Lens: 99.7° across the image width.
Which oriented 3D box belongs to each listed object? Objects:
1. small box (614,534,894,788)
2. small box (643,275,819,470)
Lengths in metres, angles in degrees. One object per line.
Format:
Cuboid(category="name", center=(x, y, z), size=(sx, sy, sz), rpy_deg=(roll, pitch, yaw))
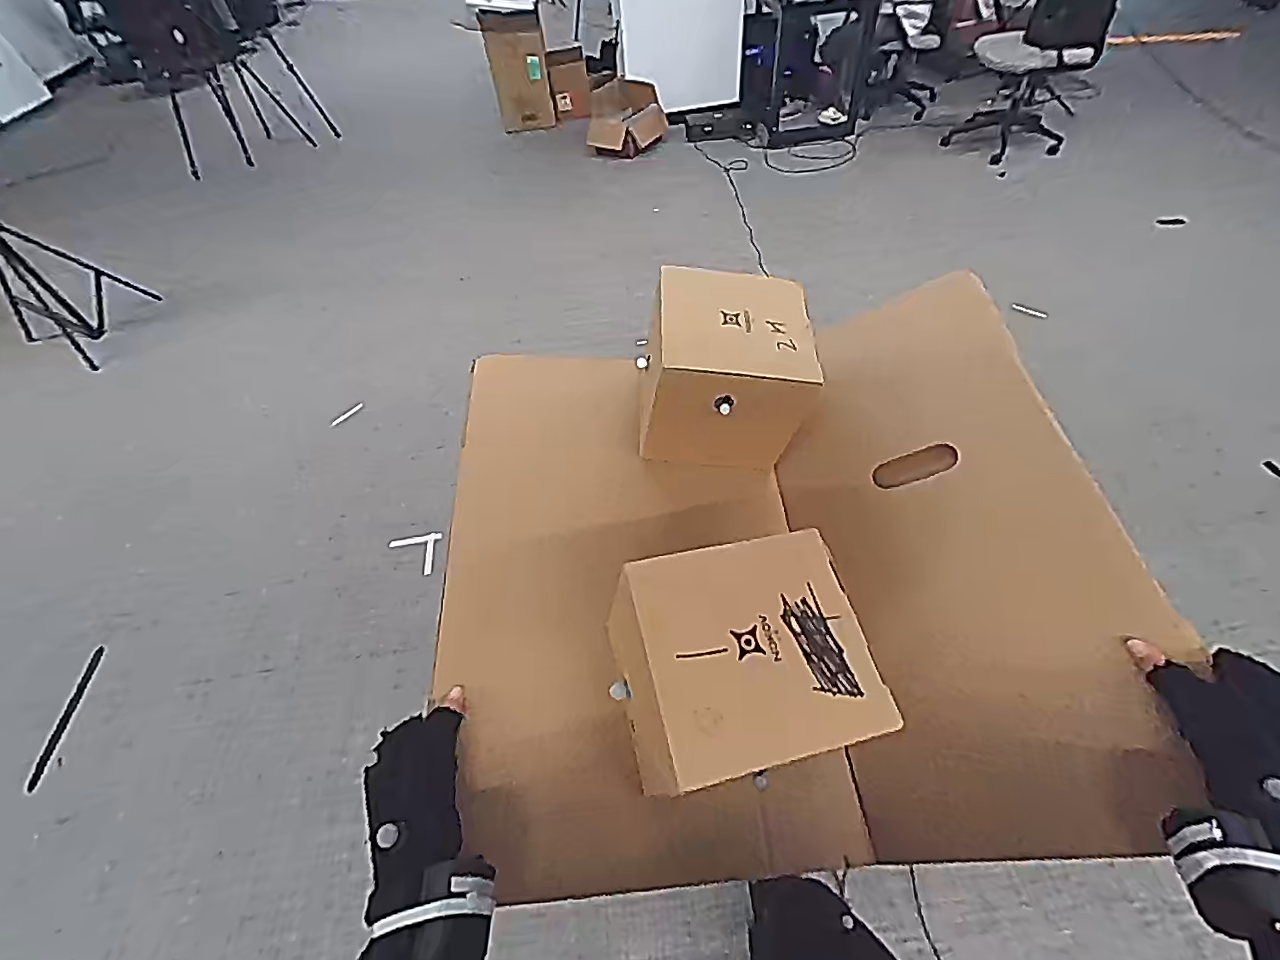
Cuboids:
Cuboid(category="small box", center=(0.082, 0.168, 0.493), size=(0.179, 0.176, 0.168), rpy_deg=(-9, 60, -13))
Cuboid(category="small box", center=(0.099, -0.127, 0.680), size=(0.179, 0.176, 0.168), rpy_deg=(5, 58, -6))
